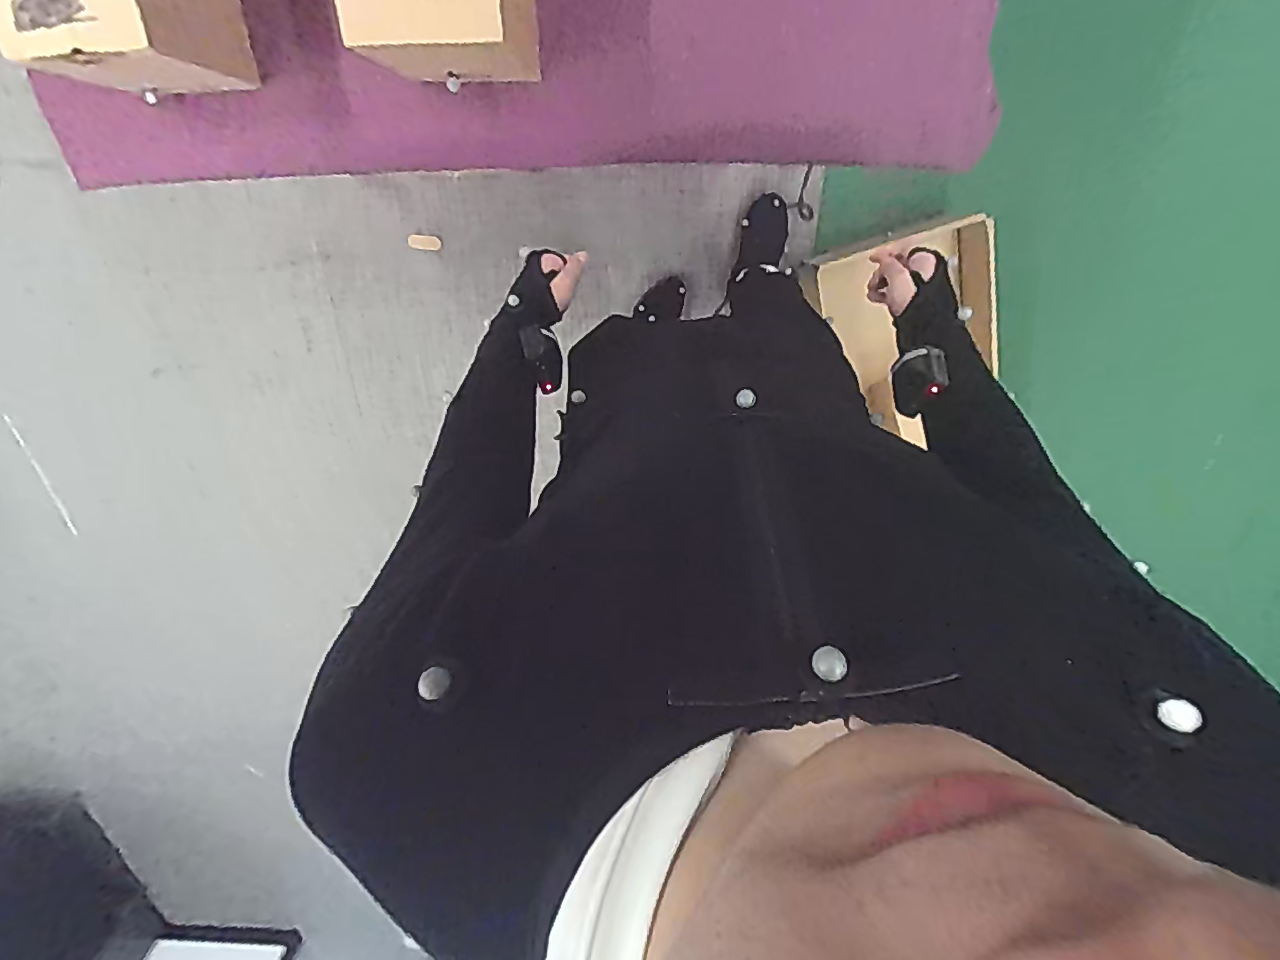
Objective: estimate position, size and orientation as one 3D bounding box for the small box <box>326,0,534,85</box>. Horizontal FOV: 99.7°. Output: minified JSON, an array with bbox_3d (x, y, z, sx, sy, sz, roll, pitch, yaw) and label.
[{"bbox_3d":[-0.214,-0.540,0.565,0.168,0.176,0.179,2,116,3],"label":"small box"}]

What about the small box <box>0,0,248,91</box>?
[{"bbox_3d":[-0.576,-0.540,0.584,0.168,0.176,0.179,-1,115,3],"label":"small box"}]

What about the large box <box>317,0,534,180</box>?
[{"bbox_3d":[-0.430,-0.881,1.148,0.320,0.320,0.408,0,115,3],"label":"large box"}]
